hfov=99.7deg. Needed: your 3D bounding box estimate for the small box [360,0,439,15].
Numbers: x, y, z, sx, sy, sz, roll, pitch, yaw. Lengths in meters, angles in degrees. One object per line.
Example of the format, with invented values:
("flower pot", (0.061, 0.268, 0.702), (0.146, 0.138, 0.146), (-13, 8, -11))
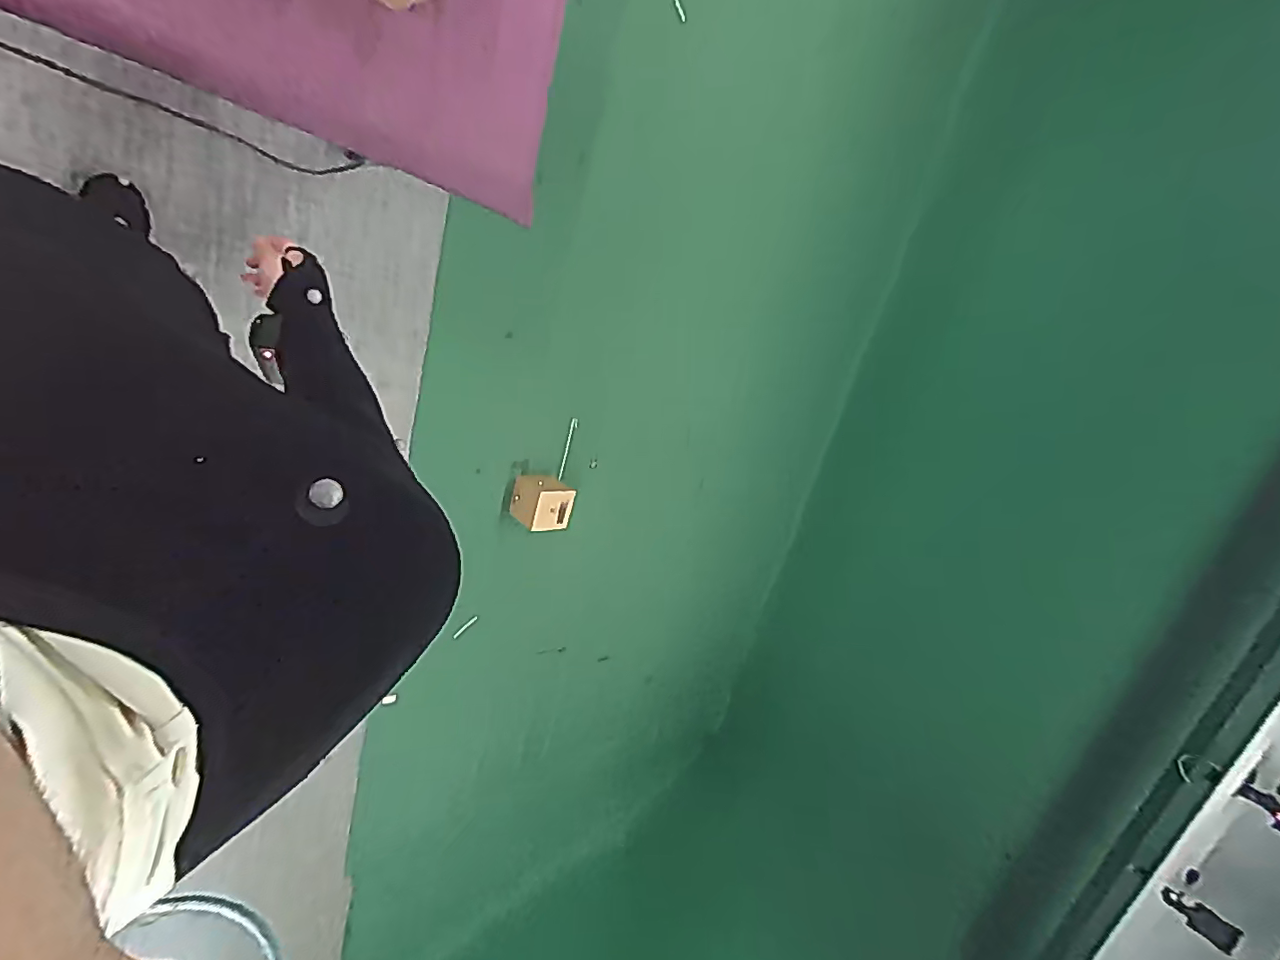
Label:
("small box", (-0.307, -0.671, 0.597), (0.168, 0.176, 0.179), (0, 111, -48))
